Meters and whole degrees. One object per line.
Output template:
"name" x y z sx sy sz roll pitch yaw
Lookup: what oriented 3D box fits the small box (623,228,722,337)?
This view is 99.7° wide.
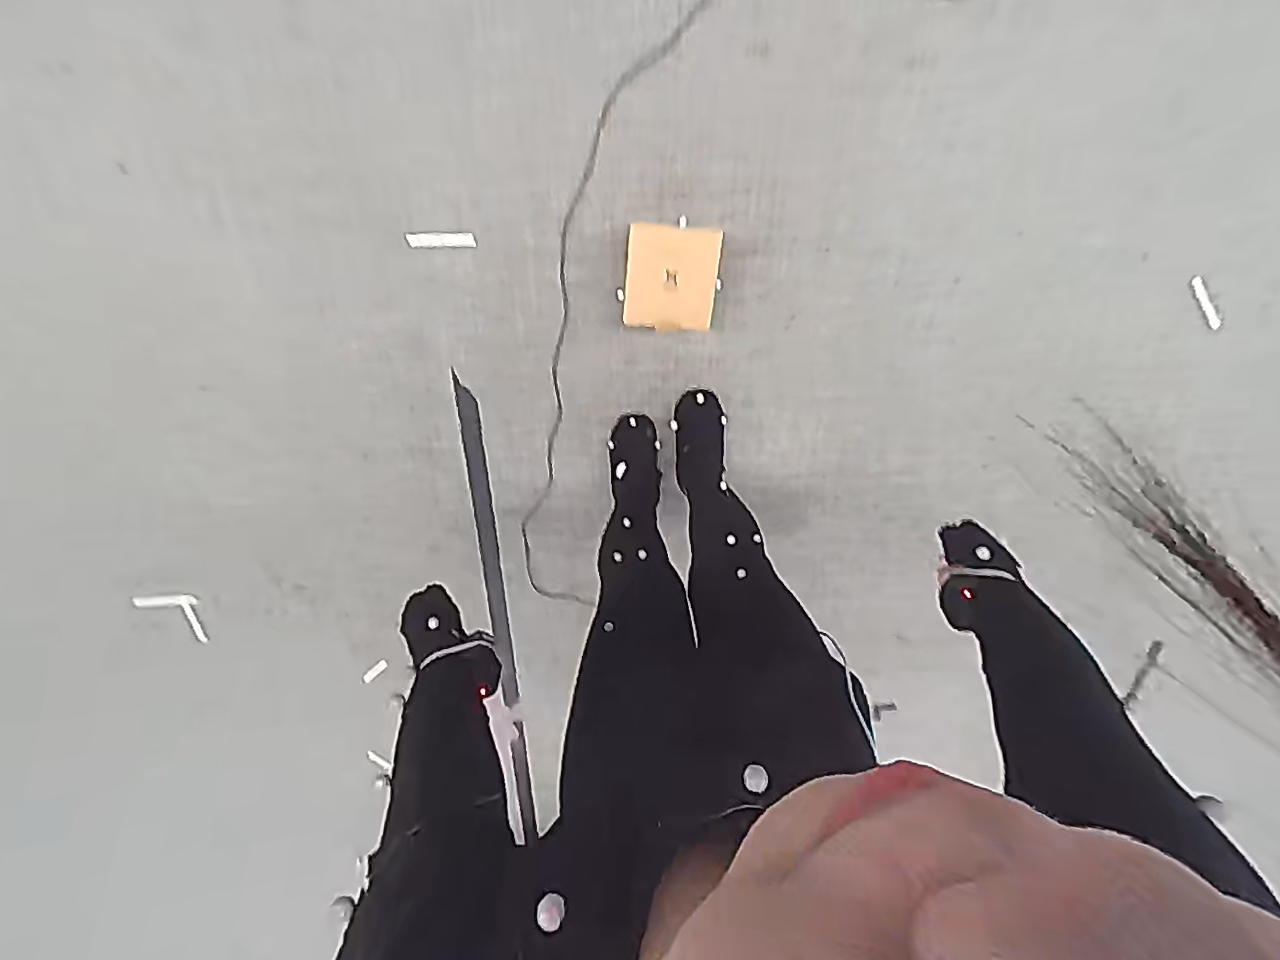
"small box" 0.057 -0.390 1.059 0.168 0.176 0.179 5 114 -3
